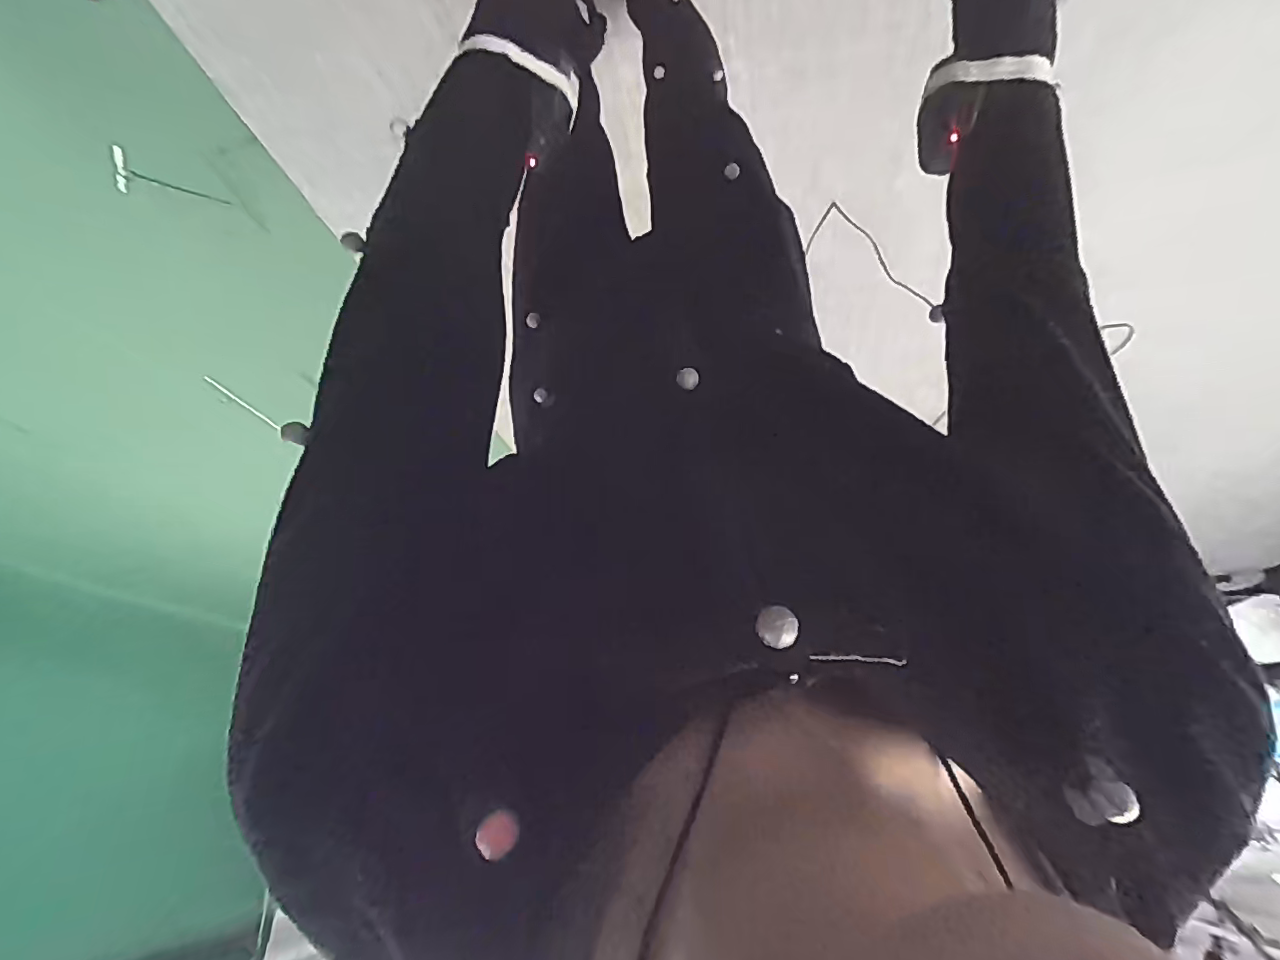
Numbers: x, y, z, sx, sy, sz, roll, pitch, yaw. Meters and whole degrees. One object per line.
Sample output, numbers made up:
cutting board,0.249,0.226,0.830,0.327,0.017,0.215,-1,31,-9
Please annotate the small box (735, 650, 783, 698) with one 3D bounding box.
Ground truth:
small box,0.516,0.838,2.337,0.179,0.176,0.168,-9,150,12
